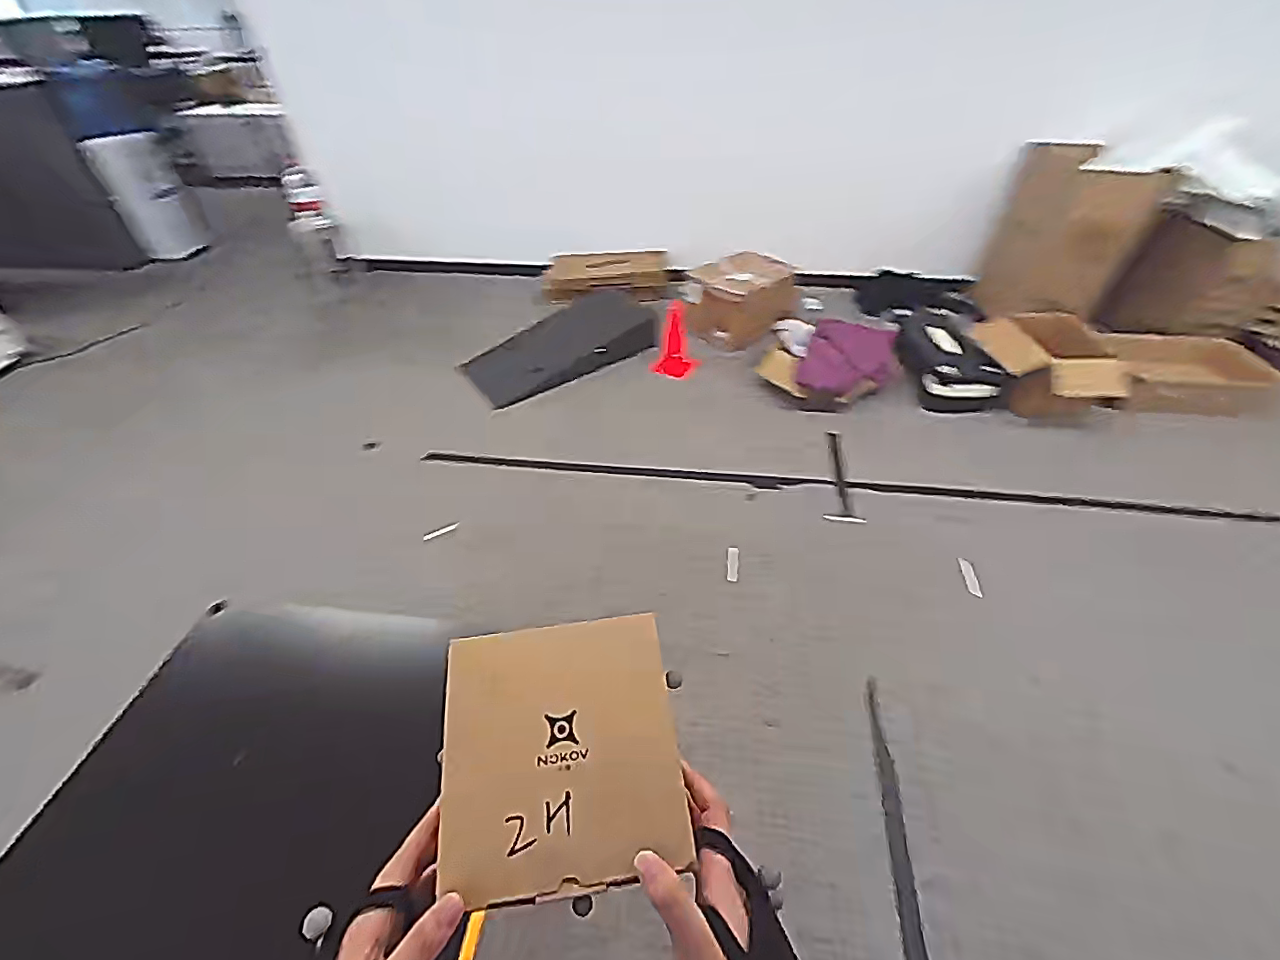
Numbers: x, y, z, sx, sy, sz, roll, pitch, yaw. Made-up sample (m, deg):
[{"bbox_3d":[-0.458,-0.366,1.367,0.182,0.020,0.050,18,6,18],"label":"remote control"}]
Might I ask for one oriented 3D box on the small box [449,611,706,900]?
[{"bbox_3d":[-0.049,0.231,0.454,0.168,0.176,0.179,-6,55,-5],"label":"small box"}]
